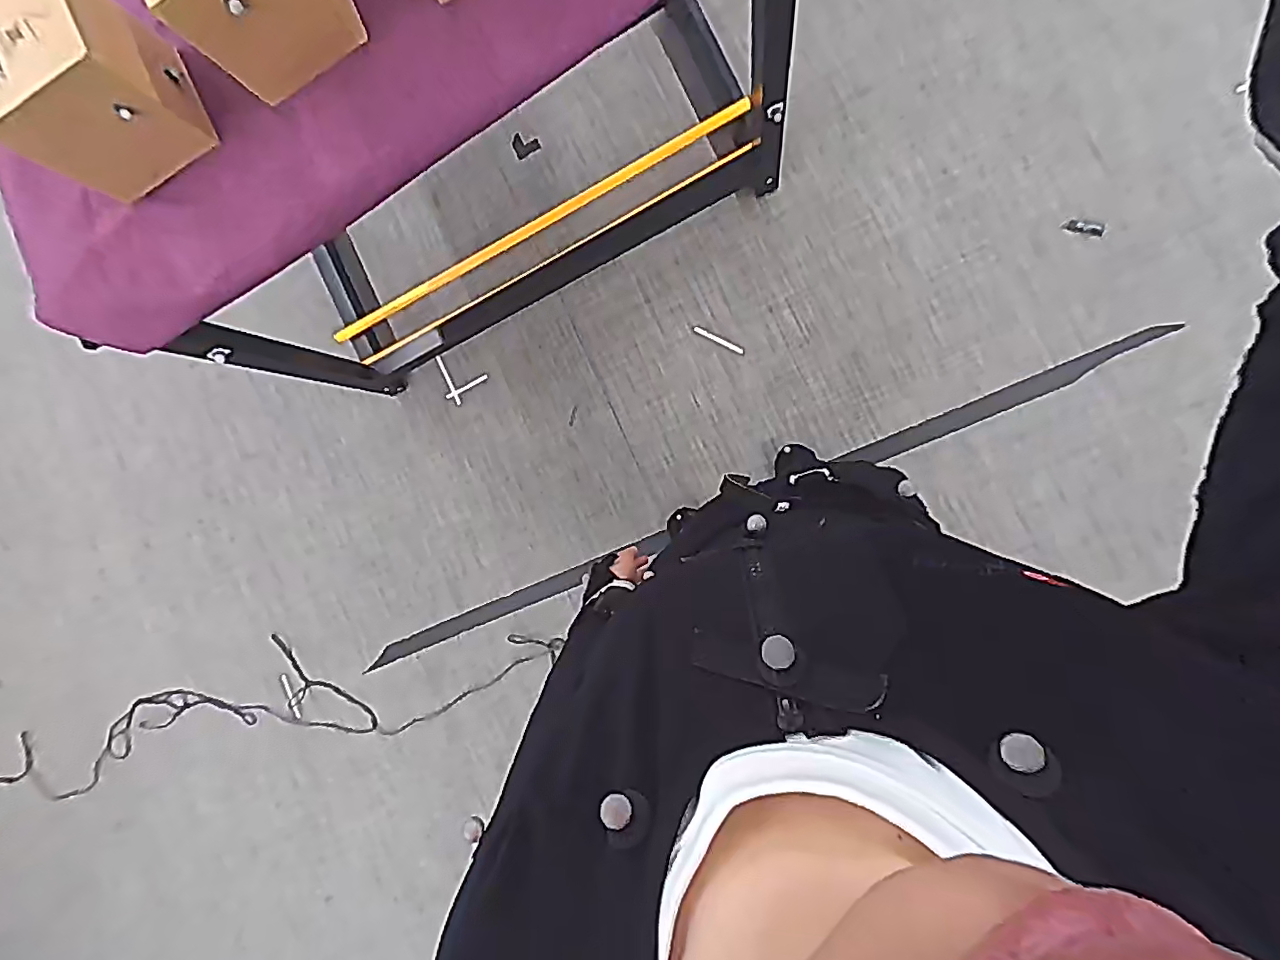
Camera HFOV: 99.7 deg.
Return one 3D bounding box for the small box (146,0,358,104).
[{"bbox_3d":[-0.492,-0.635,0.679,0.179,0.176,0.168,-25,86,12],"label":"small box"}]
